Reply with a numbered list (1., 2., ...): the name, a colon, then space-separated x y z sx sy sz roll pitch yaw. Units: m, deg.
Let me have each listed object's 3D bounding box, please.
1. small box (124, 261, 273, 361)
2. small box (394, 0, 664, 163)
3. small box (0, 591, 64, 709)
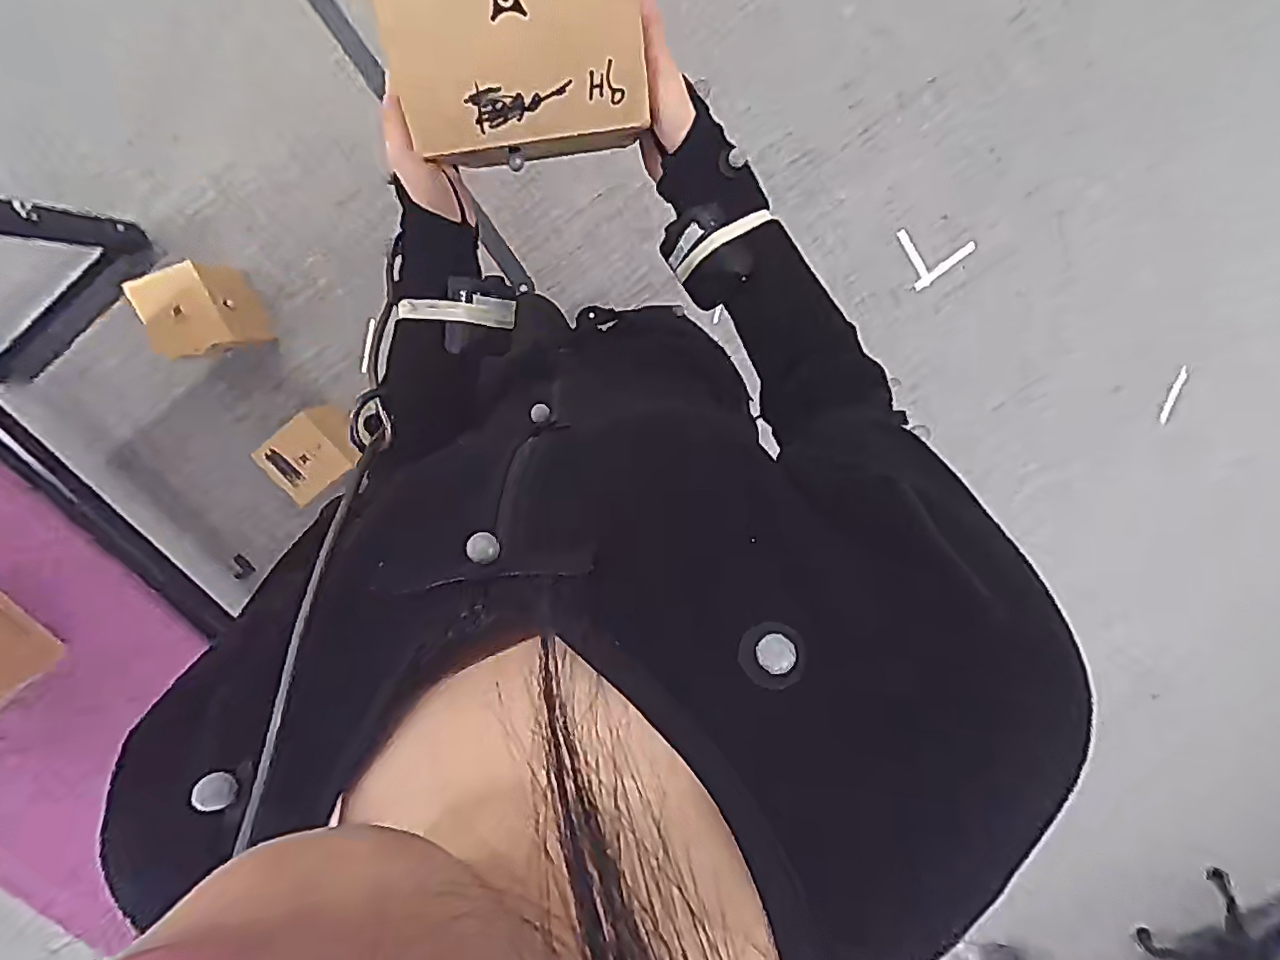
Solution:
1. small box: -1.012 -0.390 1.258 0.168 0.176 0.179 -19 108 2
2. small box: -0.079 -0.348 0.401 0.168 0.176 0.179 -7 118 -1
3. small box: -0.928 0.257 0.698 0.179 0.176 0.168 -33 105 9
